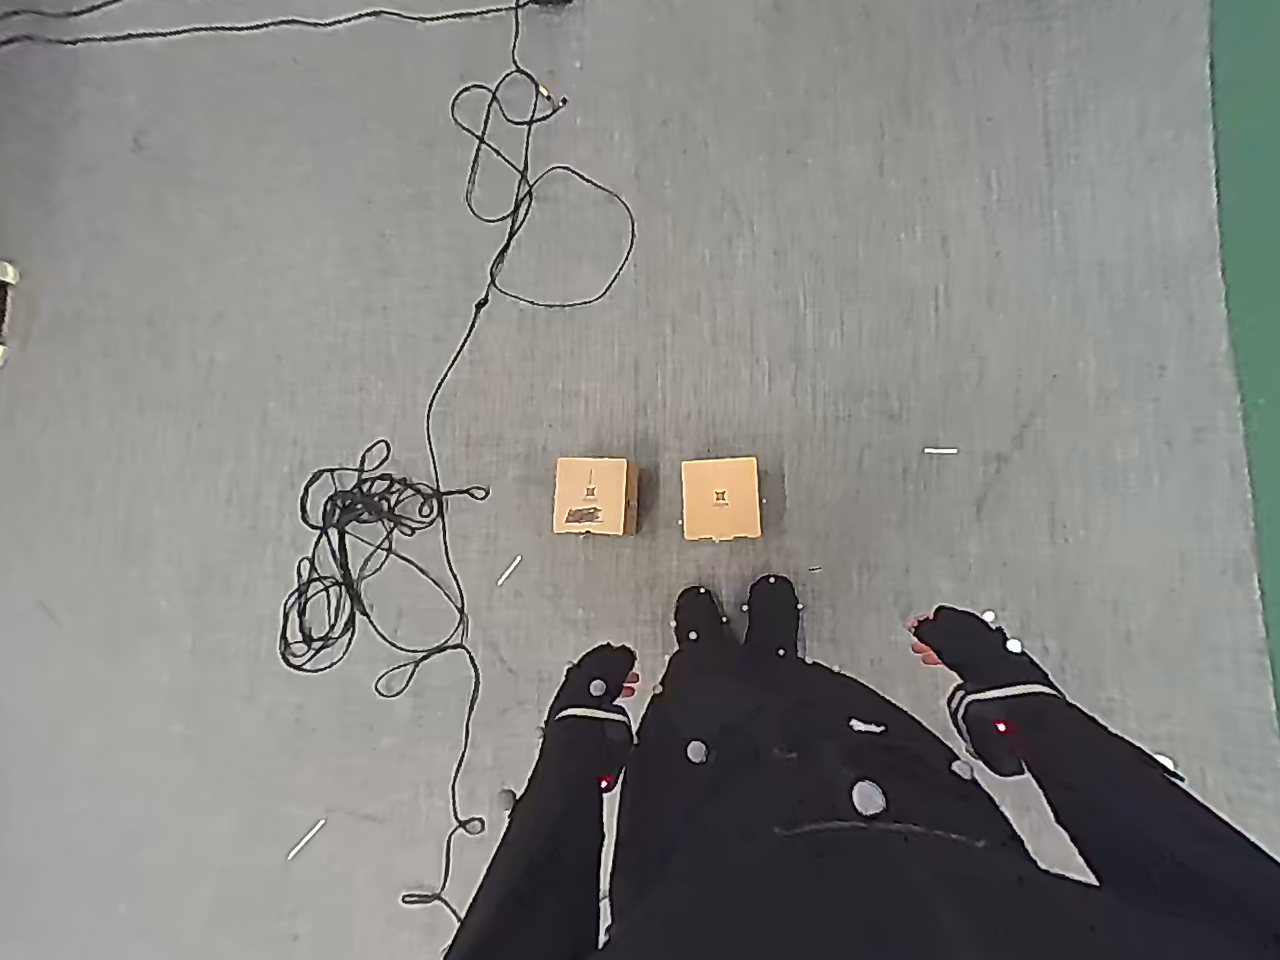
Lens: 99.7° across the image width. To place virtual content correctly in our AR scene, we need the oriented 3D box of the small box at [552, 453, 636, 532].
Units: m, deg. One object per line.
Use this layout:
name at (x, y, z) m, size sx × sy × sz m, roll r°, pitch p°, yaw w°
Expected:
small box at (-0.104, 0.035, 1.309) m, size 0.168 × 0.176 × 0.179 m, roll 2°, pitch 84°, yaw 9°

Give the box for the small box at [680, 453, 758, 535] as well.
small box at (0.183, 0.039, 1.264) m, size 0.168 × 0.176 × 0.179 m, roll -3°, pitch 85°, yaw 9°
